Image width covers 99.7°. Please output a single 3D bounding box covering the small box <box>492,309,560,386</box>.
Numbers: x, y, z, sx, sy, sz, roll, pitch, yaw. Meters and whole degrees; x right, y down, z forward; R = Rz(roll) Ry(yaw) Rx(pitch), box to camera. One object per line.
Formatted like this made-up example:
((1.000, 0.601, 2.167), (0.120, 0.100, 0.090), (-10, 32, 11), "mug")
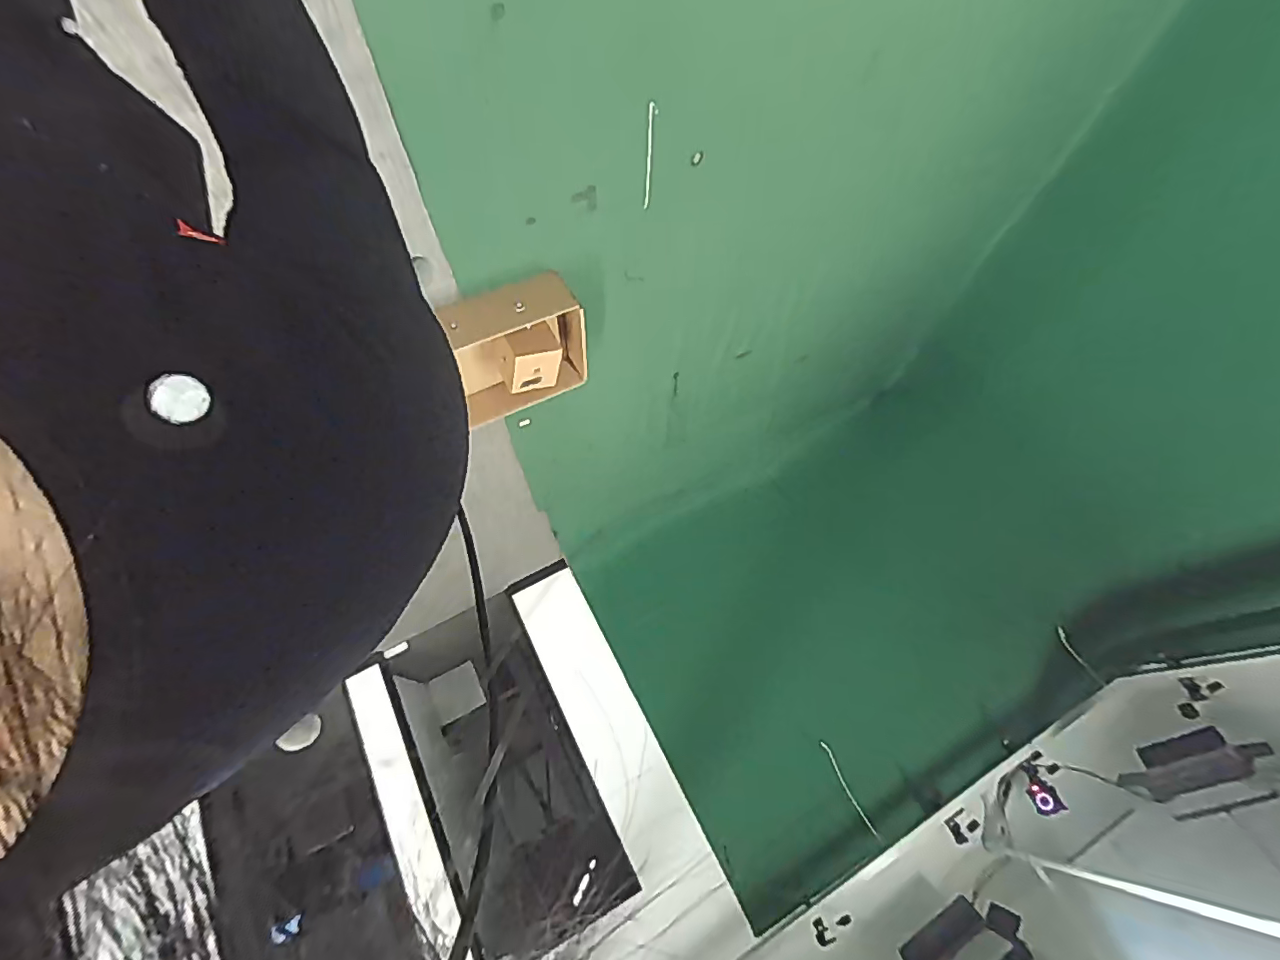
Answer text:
((-0.389, -0.446, 1.820), (0.168, 0.176, 0.179), (-18, 155, -28), "small box")
